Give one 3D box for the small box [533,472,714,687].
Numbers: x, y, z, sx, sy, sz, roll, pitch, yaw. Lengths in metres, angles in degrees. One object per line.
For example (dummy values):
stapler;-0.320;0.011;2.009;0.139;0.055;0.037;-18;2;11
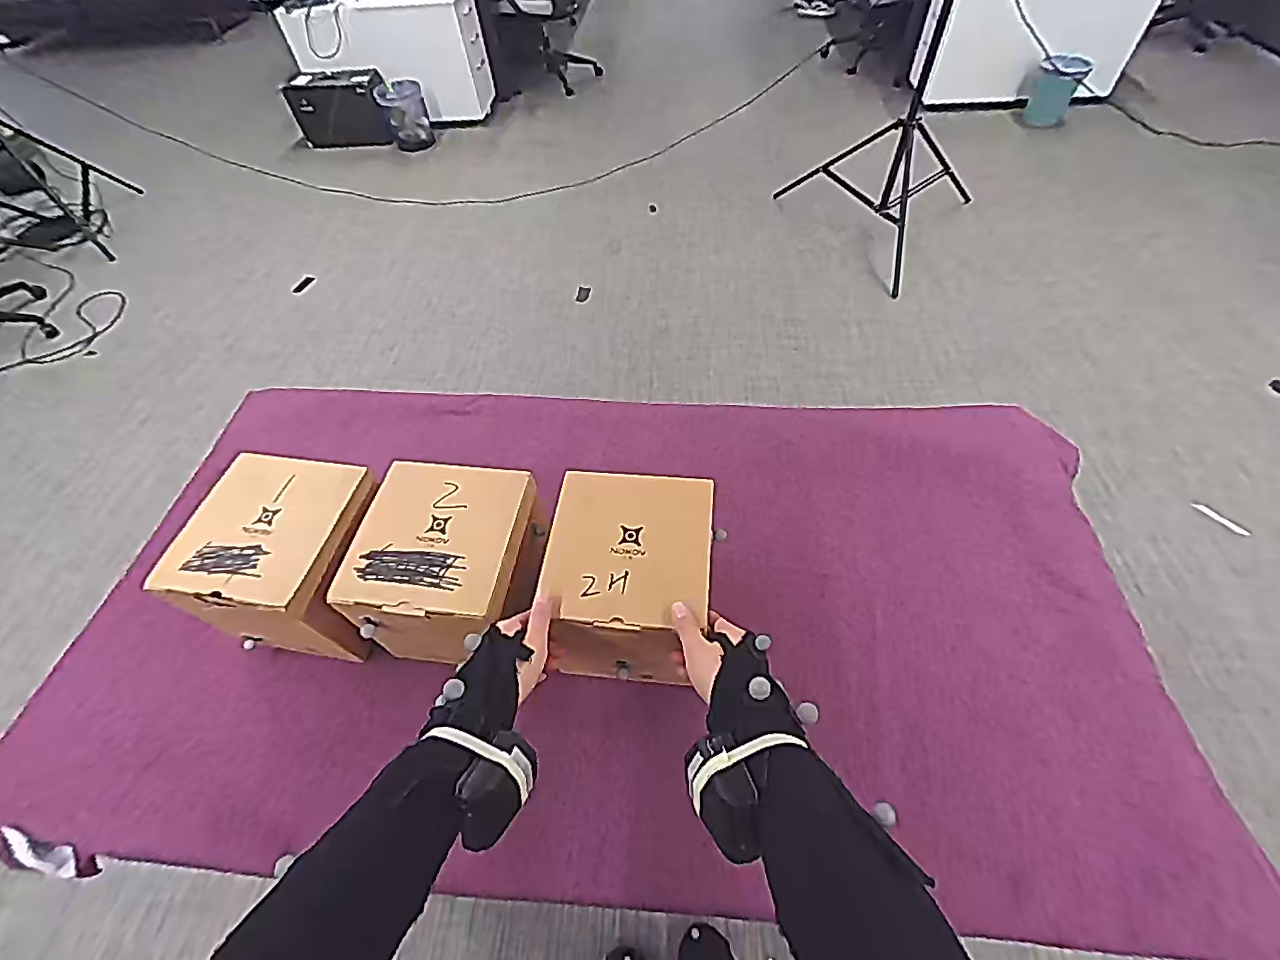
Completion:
small box;-0.006;0.113;0.610;0.168;0.176;0.179;3;53;7
